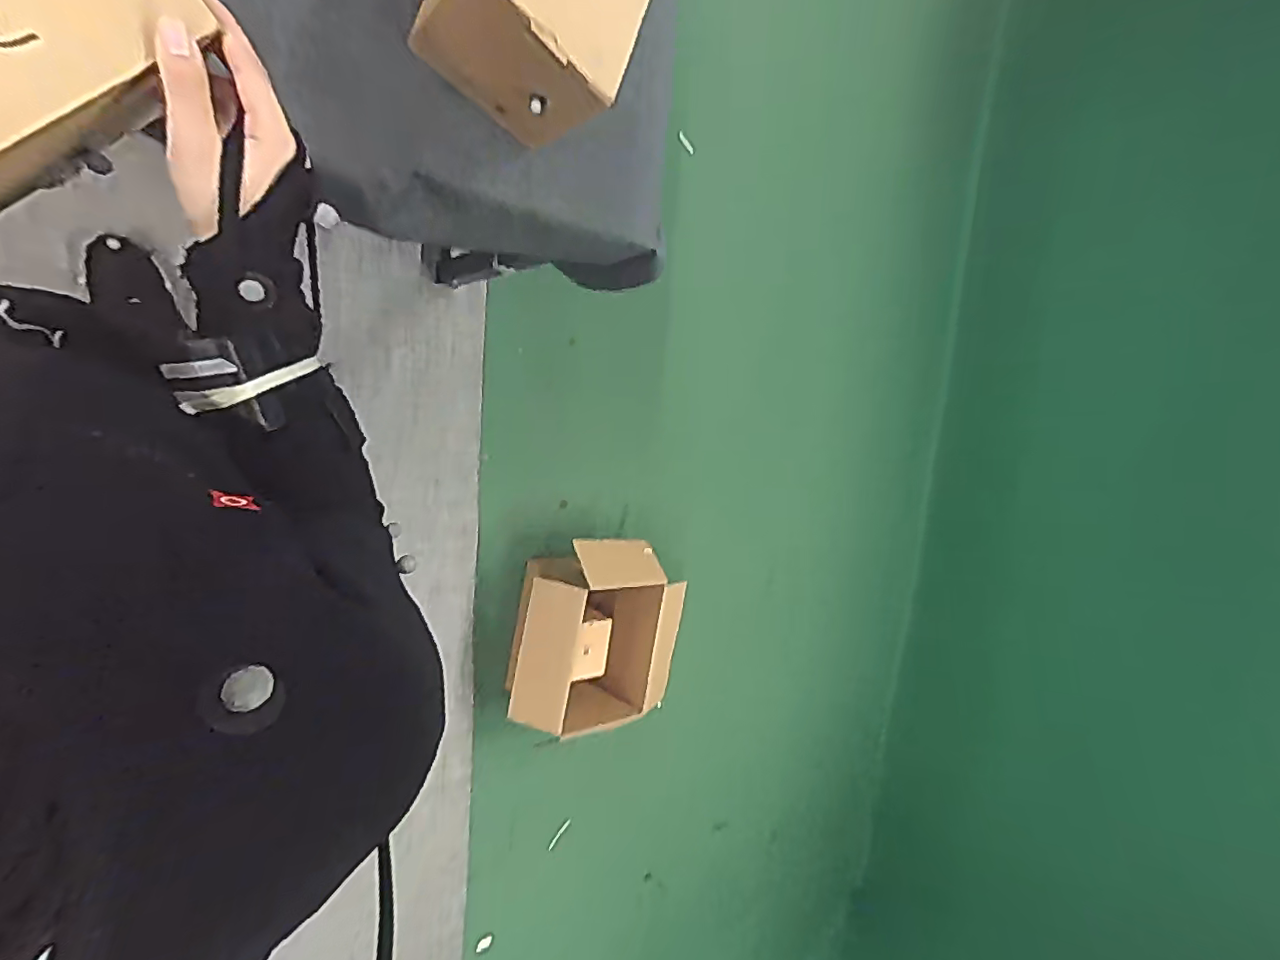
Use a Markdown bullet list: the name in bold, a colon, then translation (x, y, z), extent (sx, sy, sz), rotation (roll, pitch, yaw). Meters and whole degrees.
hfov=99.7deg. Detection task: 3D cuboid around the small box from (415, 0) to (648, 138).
- **small box**: translation (-0.112, -0.508, 0.569), extent (0.168, 0.176, 0.179), rotation (22, 83, -44)
